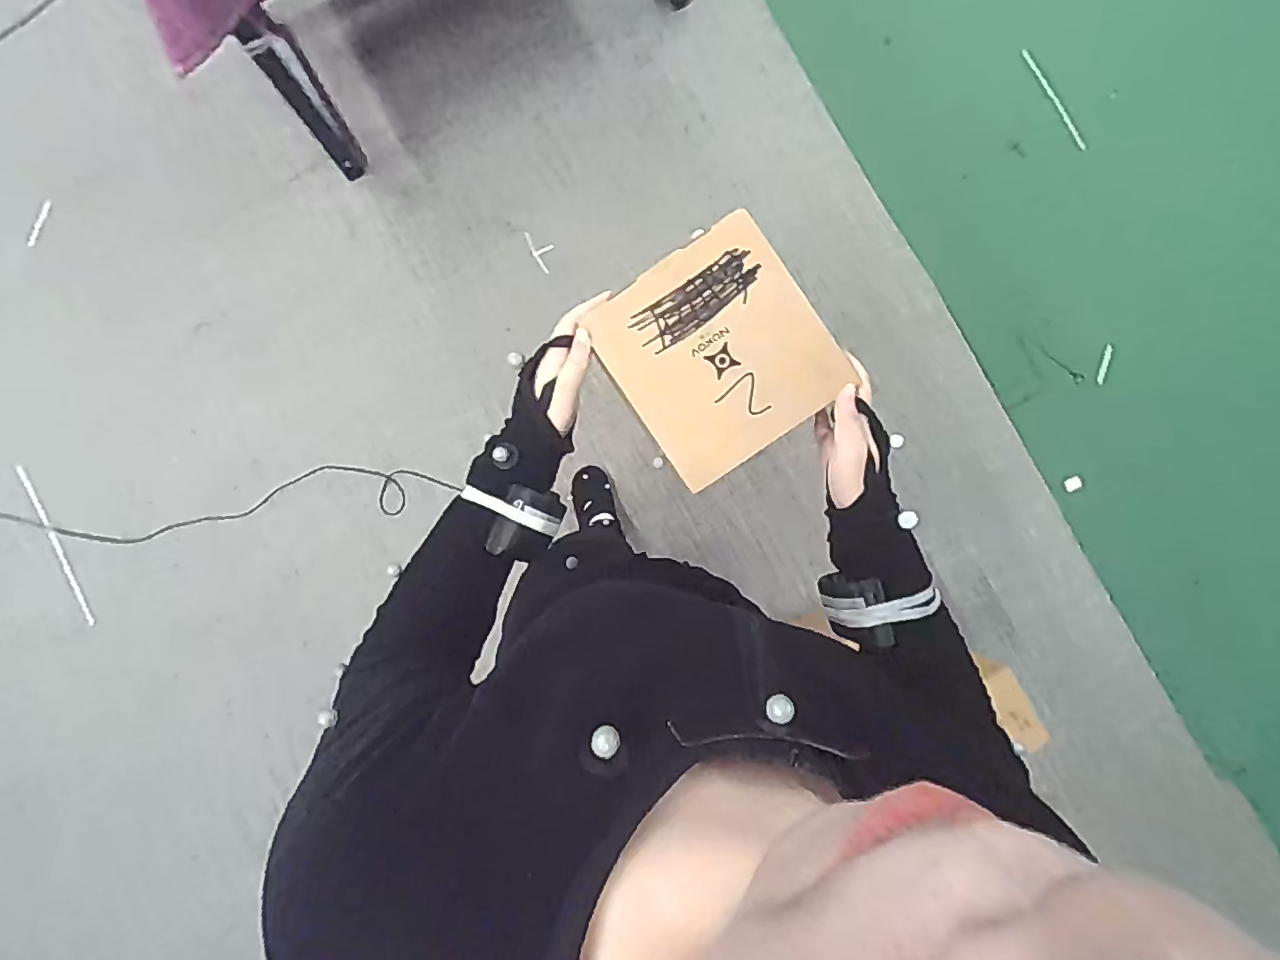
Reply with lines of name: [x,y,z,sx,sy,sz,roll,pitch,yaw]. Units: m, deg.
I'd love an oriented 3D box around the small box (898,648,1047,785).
small box: [0.666,0.475,1.112,0.179,0.176,0.168,-28,89,-5]
